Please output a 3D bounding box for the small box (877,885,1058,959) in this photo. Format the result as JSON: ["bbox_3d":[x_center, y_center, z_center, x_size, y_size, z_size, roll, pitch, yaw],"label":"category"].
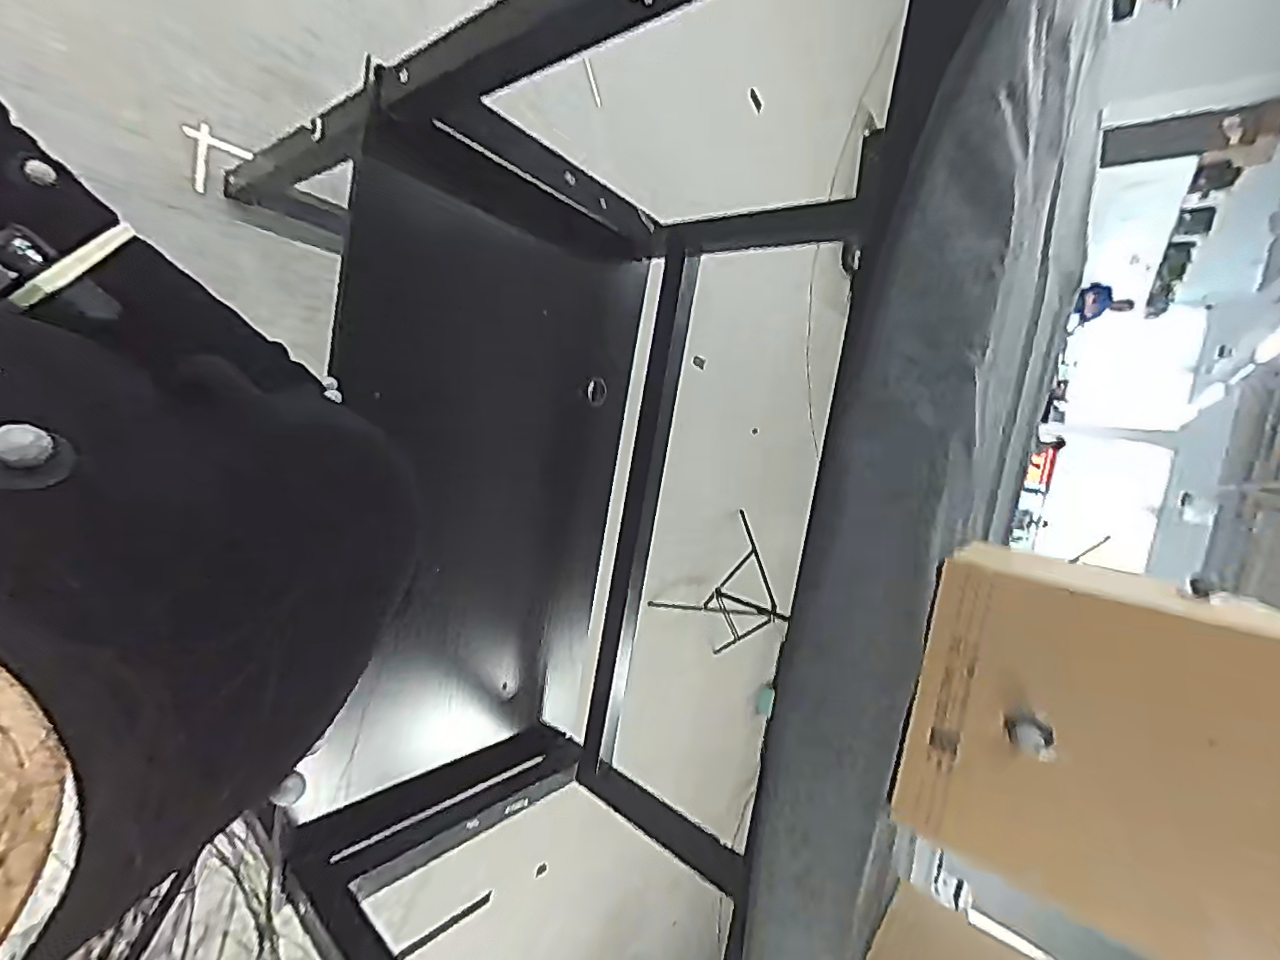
[{"bbox_3d":[0.238,0.438,0.368,0.179,0.176,0.168,11,92,-54],"label":"small box"}]

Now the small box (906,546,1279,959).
[{"bbox_3d":[0.287,0.143,0.343,0.179,0.176,0.168,4,97,-54],"label":"small box"}]
